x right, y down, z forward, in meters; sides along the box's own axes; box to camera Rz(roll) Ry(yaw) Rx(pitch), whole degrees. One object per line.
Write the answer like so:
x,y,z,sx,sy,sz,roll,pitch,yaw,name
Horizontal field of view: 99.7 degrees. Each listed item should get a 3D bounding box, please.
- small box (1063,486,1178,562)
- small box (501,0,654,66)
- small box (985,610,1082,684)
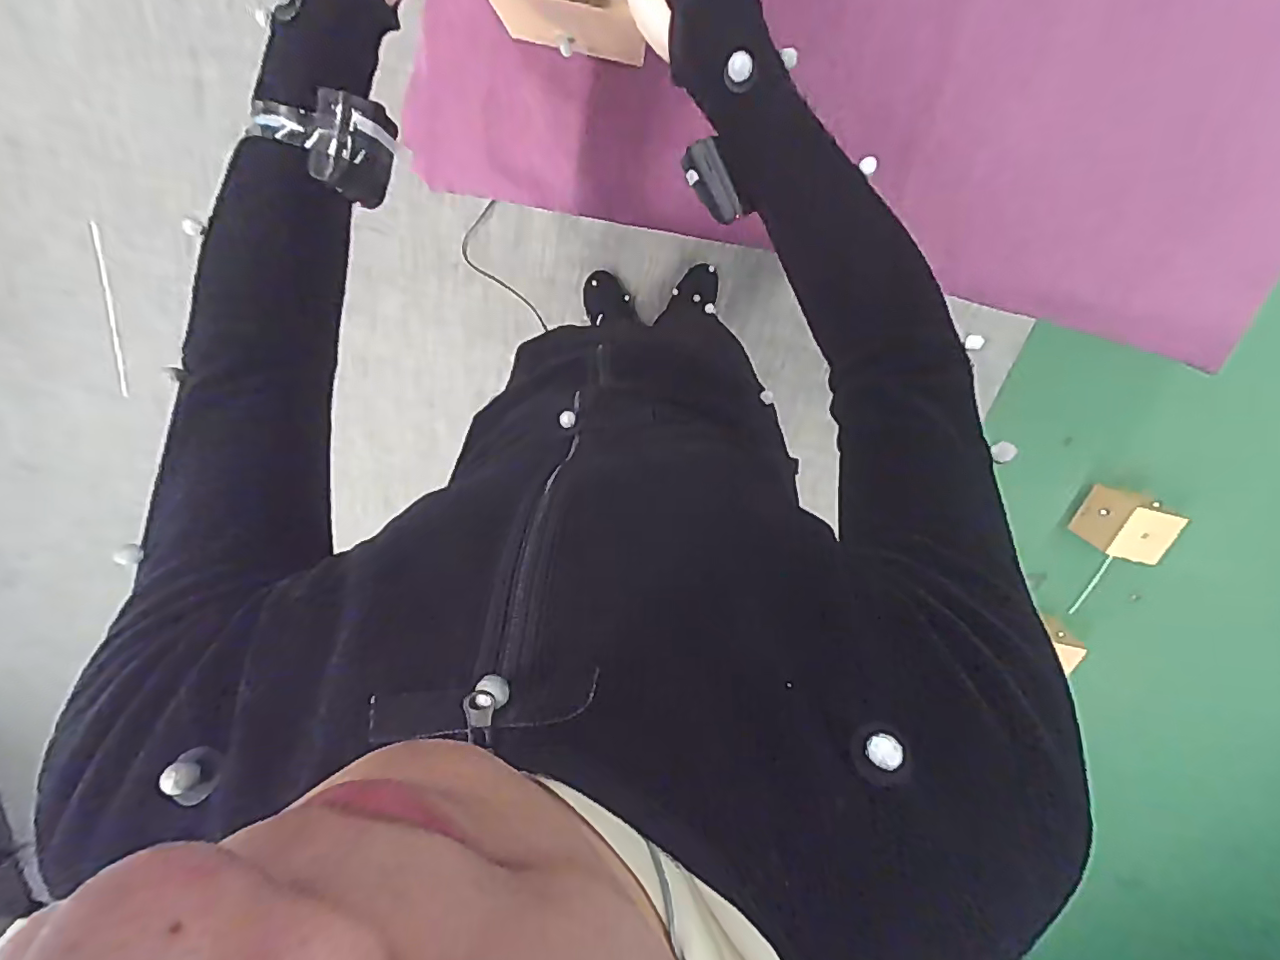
1.495,0.132,1.696,0.179,0.176,0.168,12,113,-7,small box
-0.060,-0.572,0.561,0.168,0.176,0.179,9,114,-5,small box
1.367,0.579,1.889,0.179,0.176,0.168,14,113,-7,small box
